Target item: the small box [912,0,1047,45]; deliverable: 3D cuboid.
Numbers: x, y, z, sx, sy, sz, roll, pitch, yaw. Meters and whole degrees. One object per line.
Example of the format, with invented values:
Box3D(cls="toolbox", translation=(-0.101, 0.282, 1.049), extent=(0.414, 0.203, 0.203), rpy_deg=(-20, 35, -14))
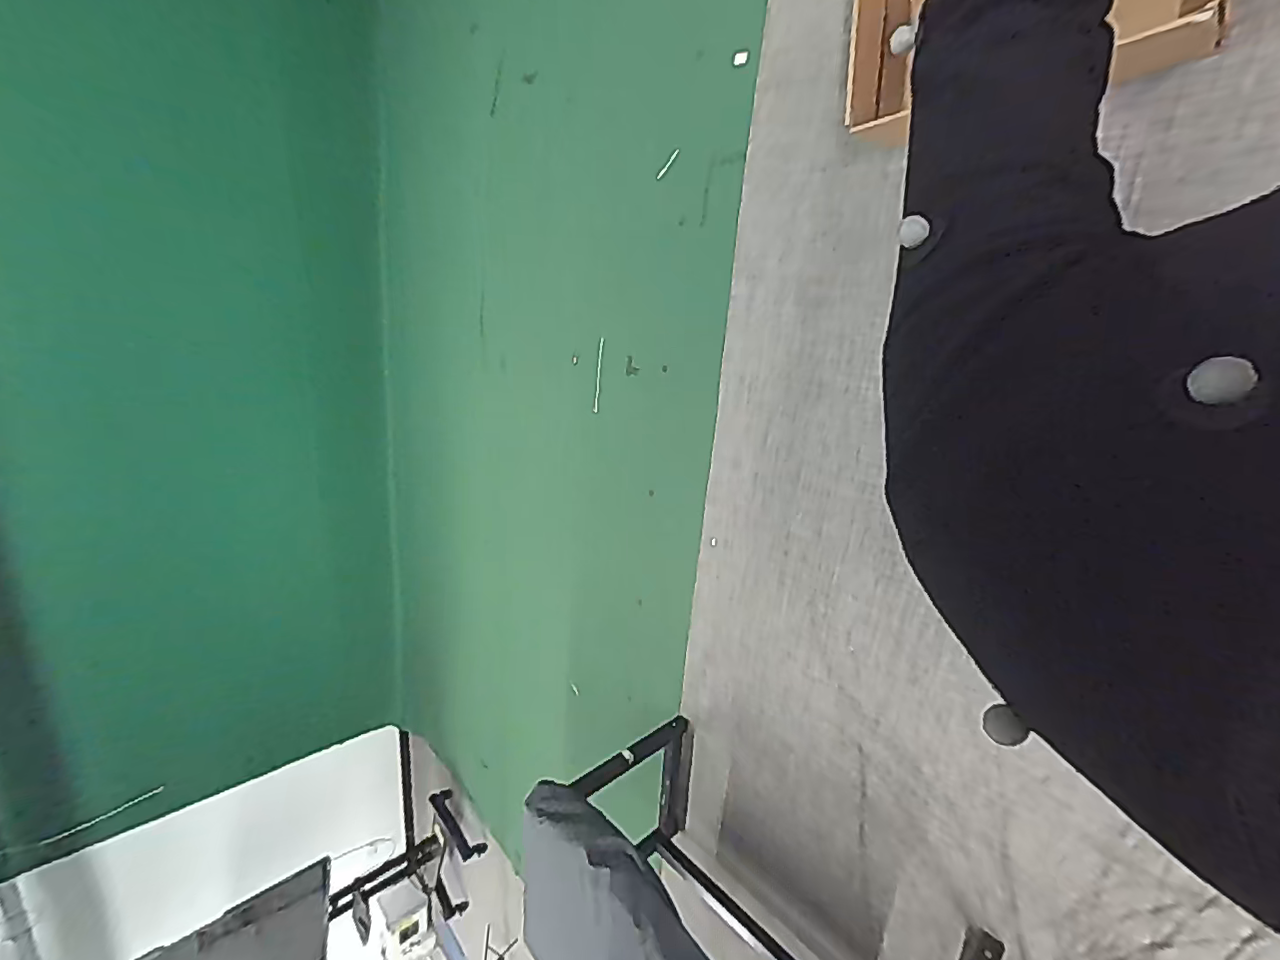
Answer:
Box3D(cls="small box", translation=(0.616, -0.922, 0.961), extent=(0.179, 0.176, 0.168), rpy_deg=(16, 109, 43))
